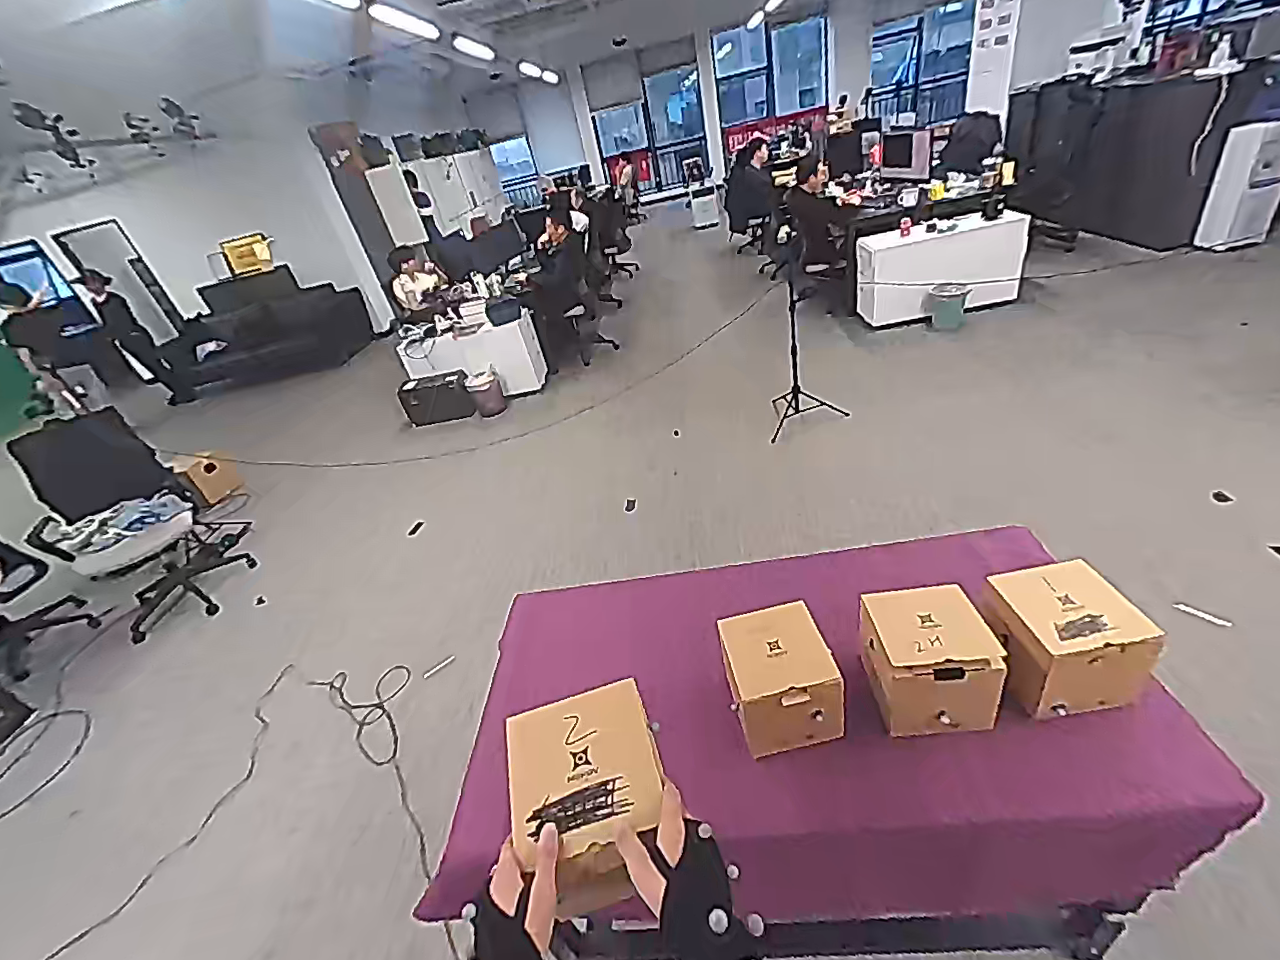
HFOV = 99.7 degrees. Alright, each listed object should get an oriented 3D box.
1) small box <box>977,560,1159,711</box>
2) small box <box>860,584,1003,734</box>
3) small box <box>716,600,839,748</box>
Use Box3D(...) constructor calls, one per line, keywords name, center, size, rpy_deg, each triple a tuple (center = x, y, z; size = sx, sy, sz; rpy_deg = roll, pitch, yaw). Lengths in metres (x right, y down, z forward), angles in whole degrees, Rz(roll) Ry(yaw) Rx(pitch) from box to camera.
Box3D(name="small box", center=(0.701, 0.266, 0.913), size=(0.168, 0.176, 0.179), rpy_deg=(-12, 32, 4))
Box3D(name="small box", center=(0.485, 0.307, 0.933), size=(0.168, 0.176, 0.179), rpy_deg=(-9, 33, 9))
Box3D(name="small box", center=(0.244, 0.350, 0.964), size=(0.168, 0.176, 0.179), rpy_deg=(-13, 33, 1))
